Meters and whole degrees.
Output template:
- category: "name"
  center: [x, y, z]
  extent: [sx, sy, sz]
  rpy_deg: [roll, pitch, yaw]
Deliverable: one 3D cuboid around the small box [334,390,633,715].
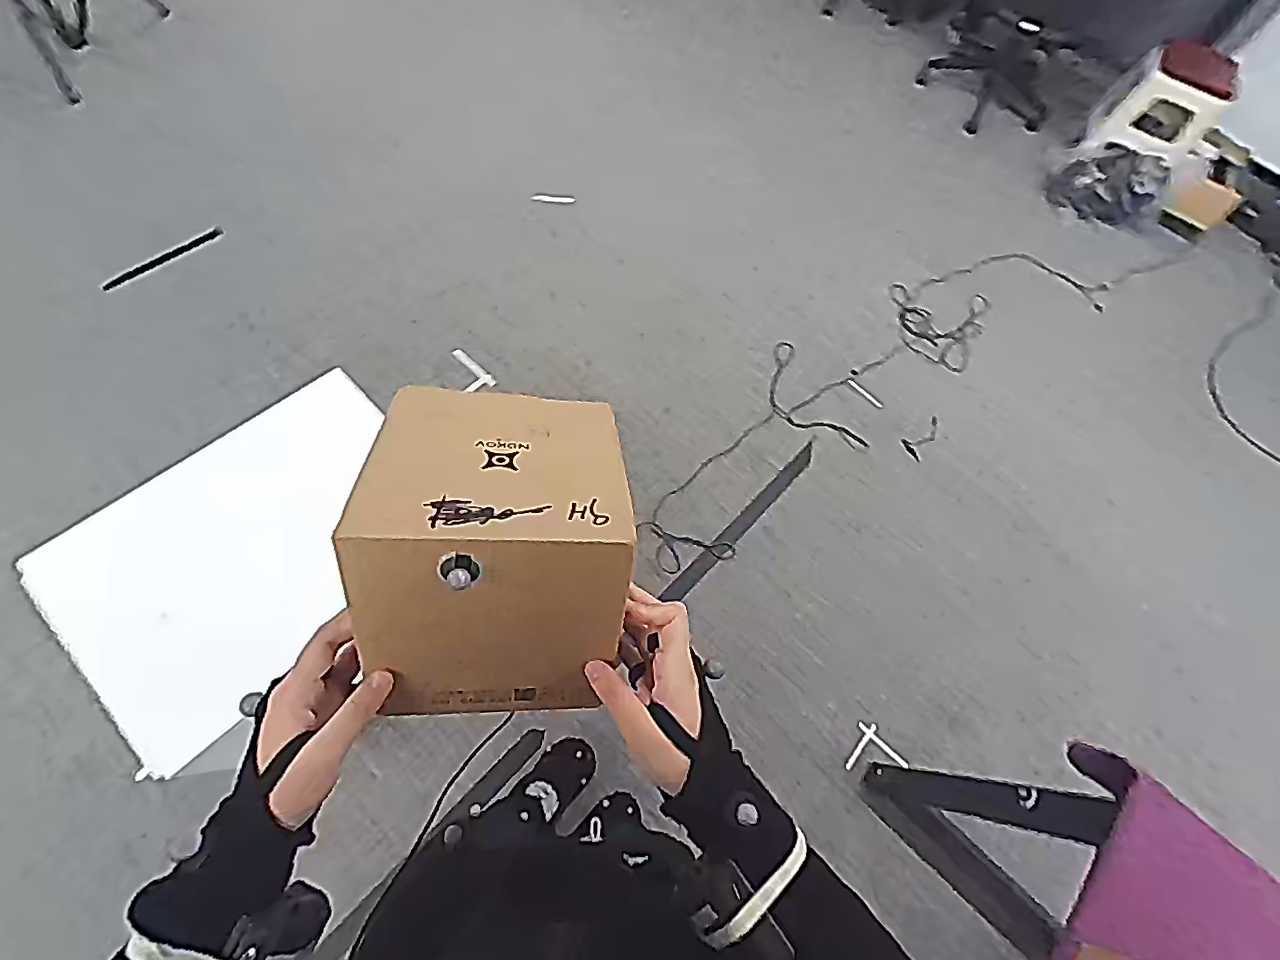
- category: "small box"
  center: [-0.107, 0.049, 0.411]
  extent: [0.168, 0.176, 0.179]
  rpy_deg: [2, 34, -12]
